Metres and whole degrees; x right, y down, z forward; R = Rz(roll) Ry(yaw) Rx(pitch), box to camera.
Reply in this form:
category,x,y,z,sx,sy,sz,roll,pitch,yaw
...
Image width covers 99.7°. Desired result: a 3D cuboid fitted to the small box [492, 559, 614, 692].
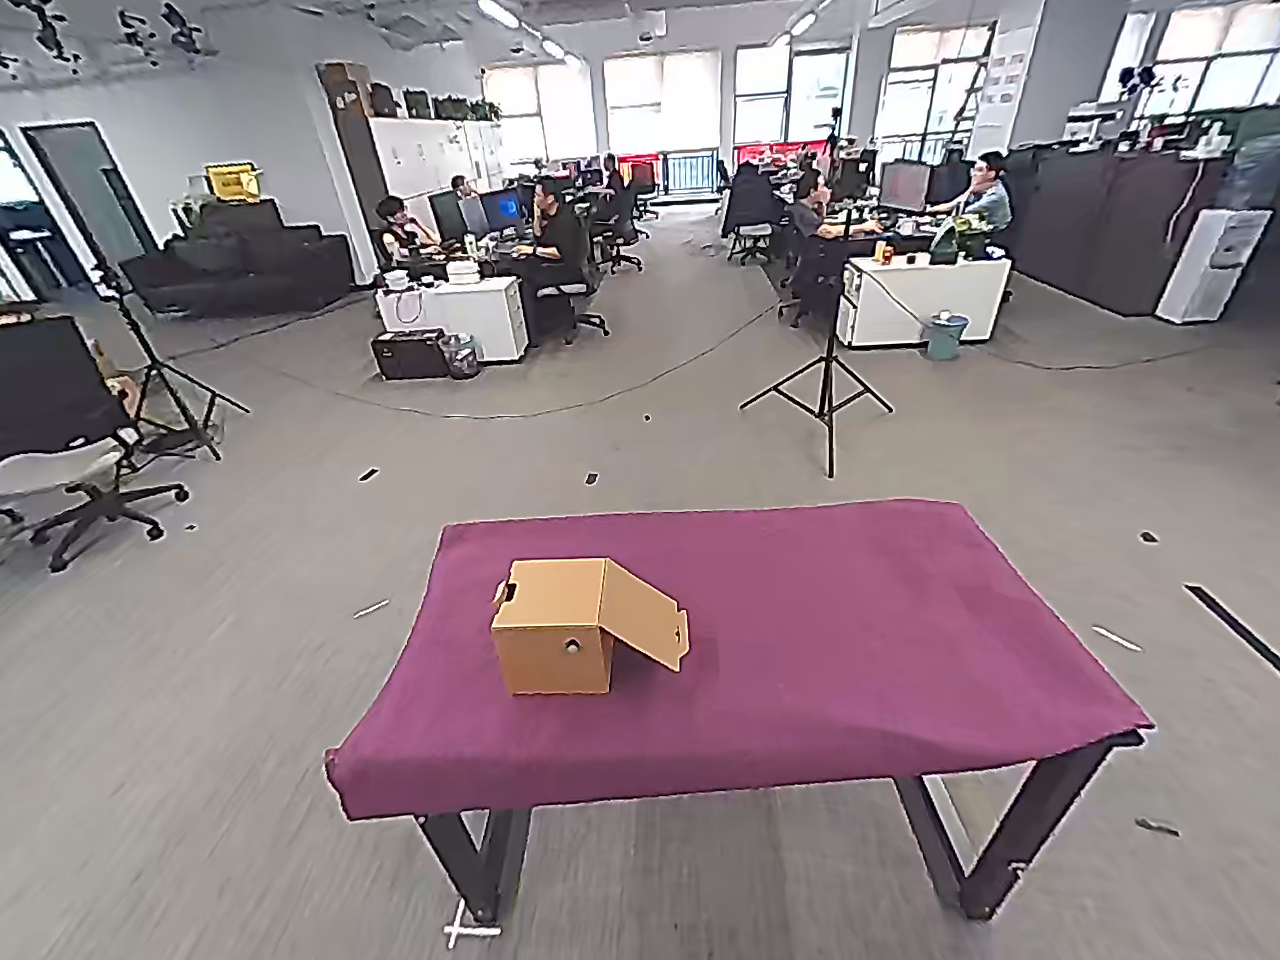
category,x,y,z,sx,sy,sz,roll,pitch,yaw
small box,-0.142,0.260,0.967,0.179,0.176,0.168,-3,31,4
